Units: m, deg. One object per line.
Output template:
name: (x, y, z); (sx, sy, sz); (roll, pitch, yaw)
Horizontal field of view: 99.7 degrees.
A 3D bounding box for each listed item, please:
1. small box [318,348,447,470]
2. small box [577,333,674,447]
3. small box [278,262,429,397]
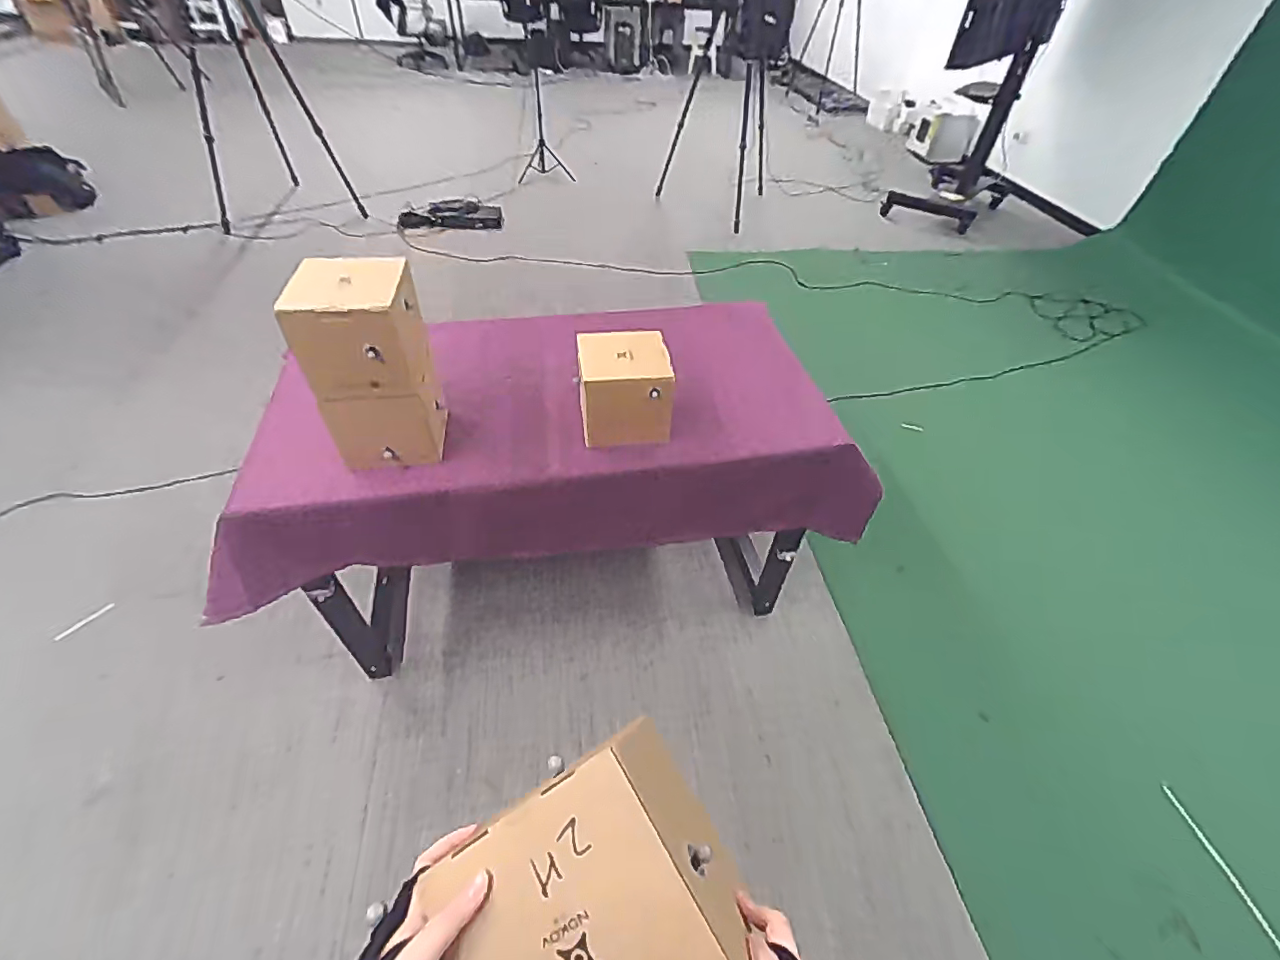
small box: (-0.478, -0.135, 1.037); (0.179, 0.176, 0.168); (-5, 46, -9)
small box: (-0.033, -0.182, 1.108); (0.179, 0.176, 0.168); (-4, 46, -8)
small box: (-0.471, -0.252, 0.923); (0.168, 0.176, 0.179); (-4, 46, -7)
